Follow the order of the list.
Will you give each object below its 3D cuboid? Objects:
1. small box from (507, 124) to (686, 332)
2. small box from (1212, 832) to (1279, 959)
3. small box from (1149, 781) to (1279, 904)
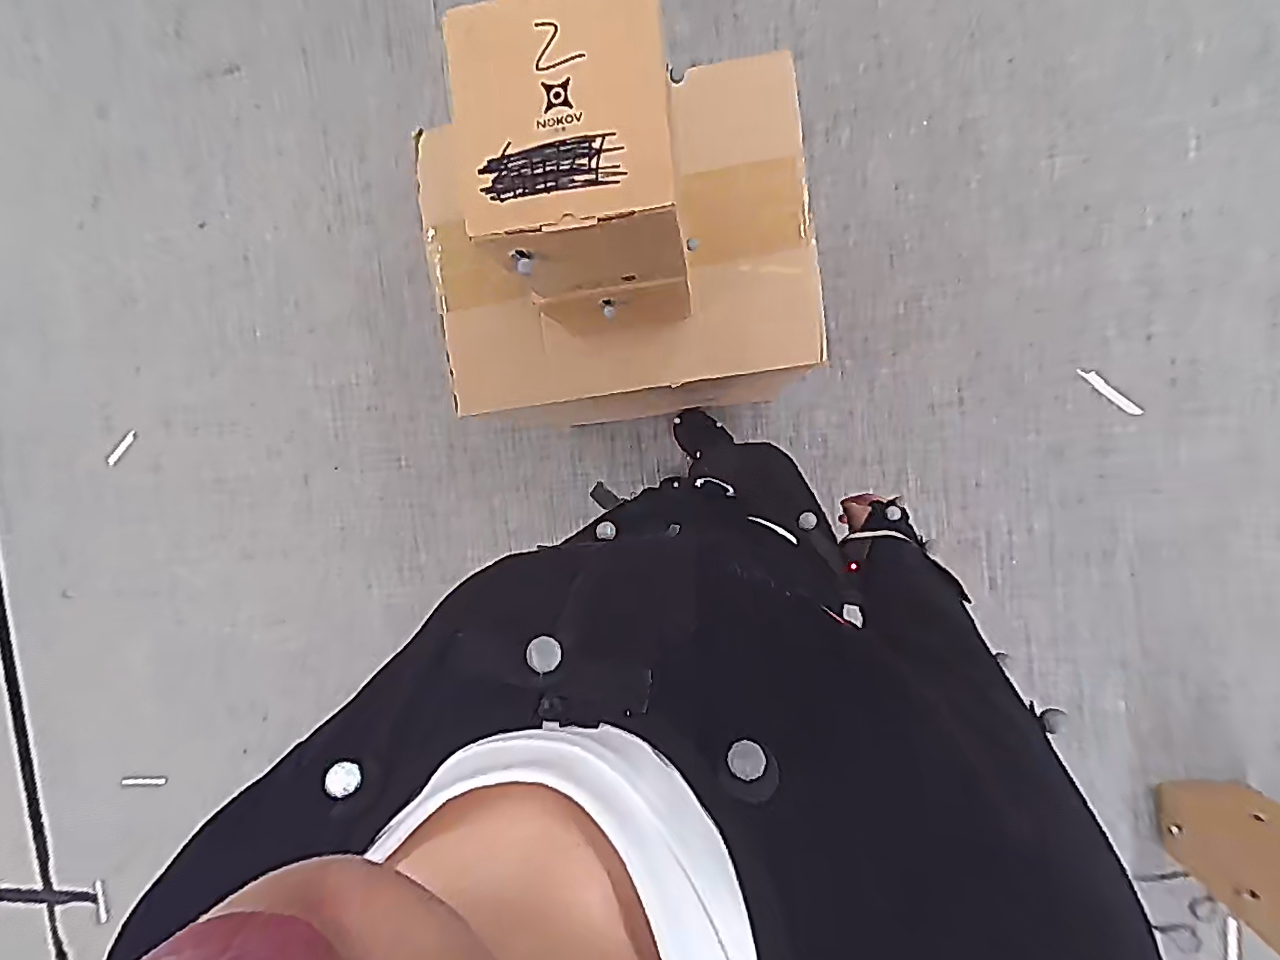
[{"bbox_3d":[-0.039,-0.284,0.651,0.179,0.176,0.168,-7,93,8],"label":"small box"},{"bbox_3d":[1.254,0.796,1.019,0.179,0.176,0.168,-7,92,8],"label":"small box"},{"bbox_3d":[1.276,0.784,1.182,0.179,0.176,0.168,-5,93,9],"label":"small box"}]
